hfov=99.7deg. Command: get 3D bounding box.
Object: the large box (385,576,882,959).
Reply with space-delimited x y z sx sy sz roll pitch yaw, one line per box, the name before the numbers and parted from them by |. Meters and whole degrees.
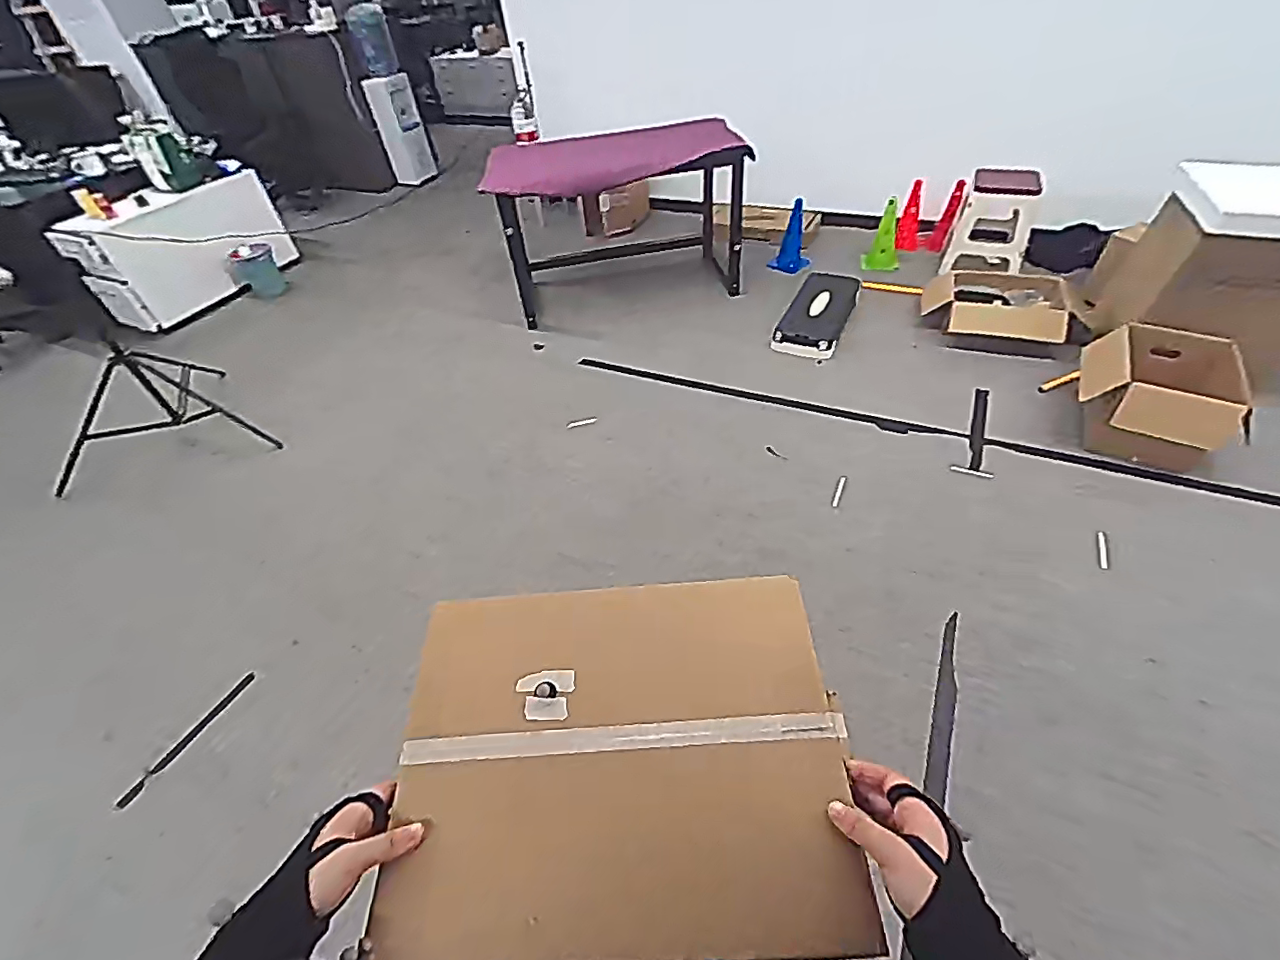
large box | 0.002 0.338 0.630 0.408 0.320 0.320 -6 50 4
